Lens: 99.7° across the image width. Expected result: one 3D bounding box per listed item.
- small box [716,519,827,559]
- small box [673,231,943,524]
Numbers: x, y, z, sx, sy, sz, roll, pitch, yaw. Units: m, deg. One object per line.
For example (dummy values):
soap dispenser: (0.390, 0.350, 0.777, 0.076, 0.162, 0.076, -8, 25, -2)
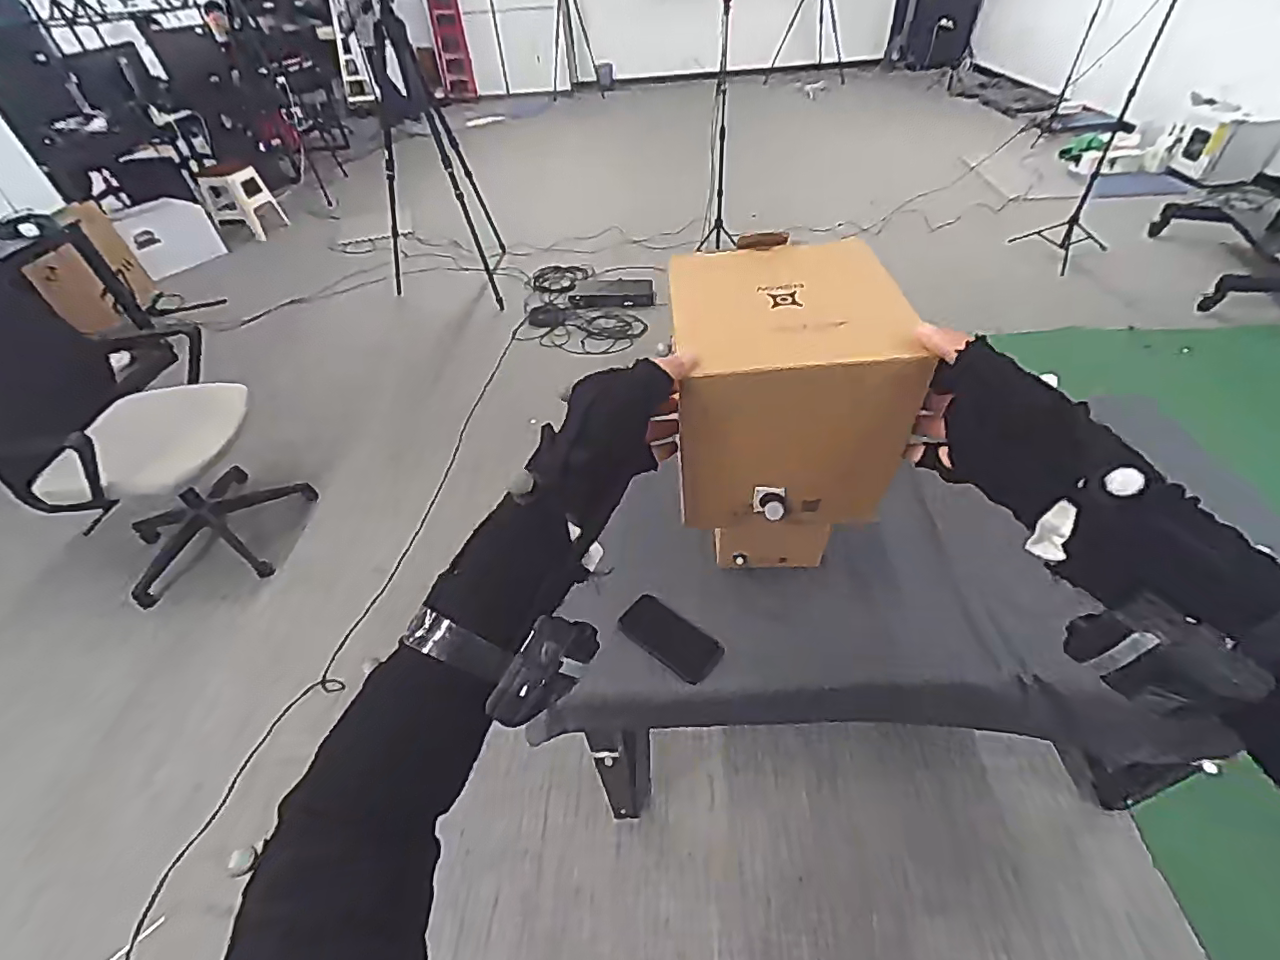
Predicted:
small box: (0.213, 0.016, 0.895, 0.168, 0.176, 0.179, -1, 44, 4)
small box: (0.114, -0.084, 0.454, 0.168, 0.176, 0.179, -4, 48, 4)
